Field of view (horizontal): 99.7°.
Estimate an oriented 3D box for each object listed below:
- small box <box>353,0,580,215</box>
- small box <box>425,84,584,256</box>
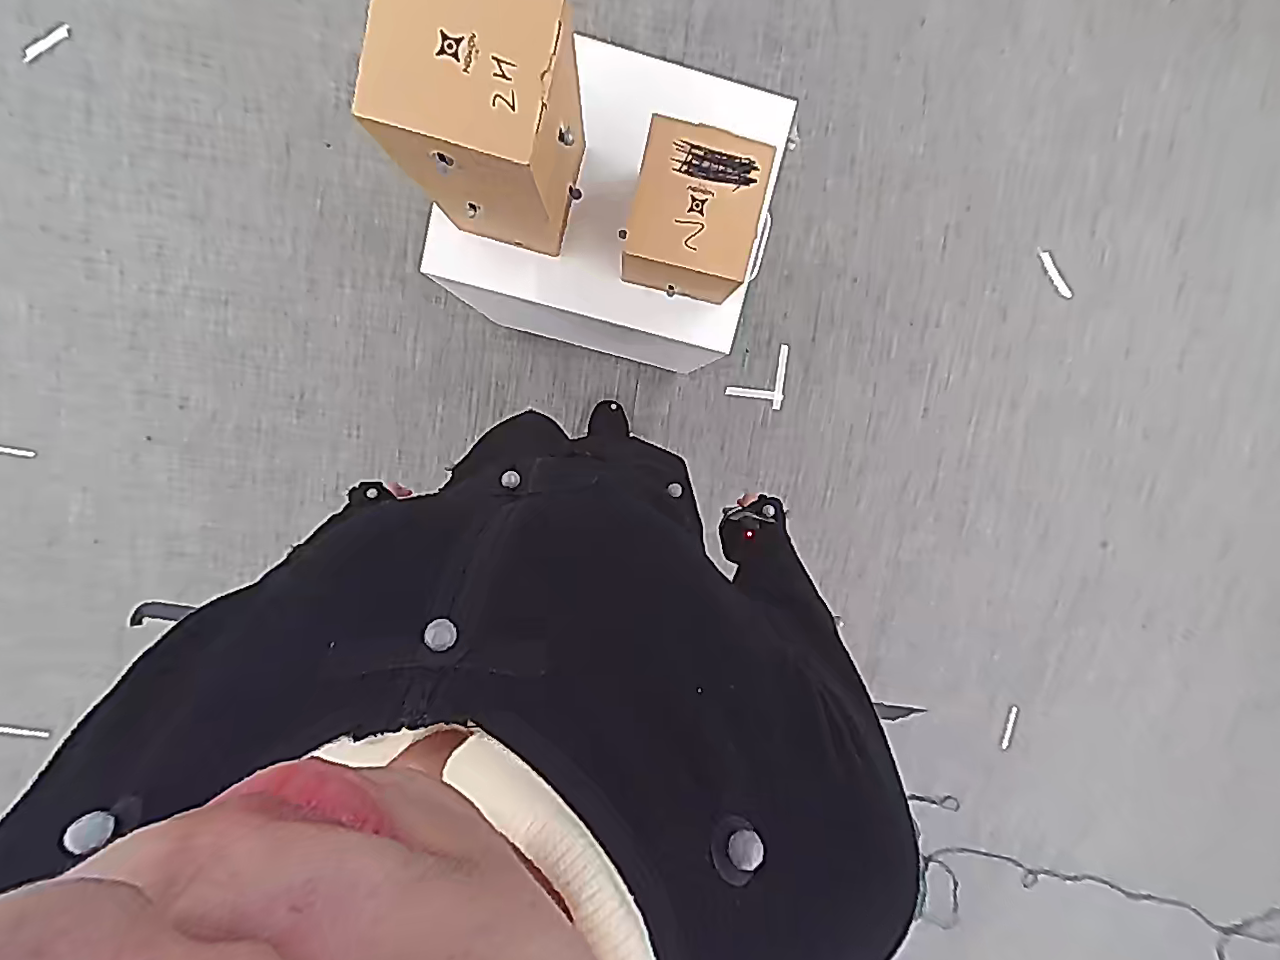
[{"bbox_3d":[-0.172,-0.415,0.587,0.179,0.176,0.168,14,98,-5],"label":"small box"},{"bbox_3d":[-0.177,-0.441,0.750,0.168,0.176,0.179,15,96,-4],"label":"small box"}]
